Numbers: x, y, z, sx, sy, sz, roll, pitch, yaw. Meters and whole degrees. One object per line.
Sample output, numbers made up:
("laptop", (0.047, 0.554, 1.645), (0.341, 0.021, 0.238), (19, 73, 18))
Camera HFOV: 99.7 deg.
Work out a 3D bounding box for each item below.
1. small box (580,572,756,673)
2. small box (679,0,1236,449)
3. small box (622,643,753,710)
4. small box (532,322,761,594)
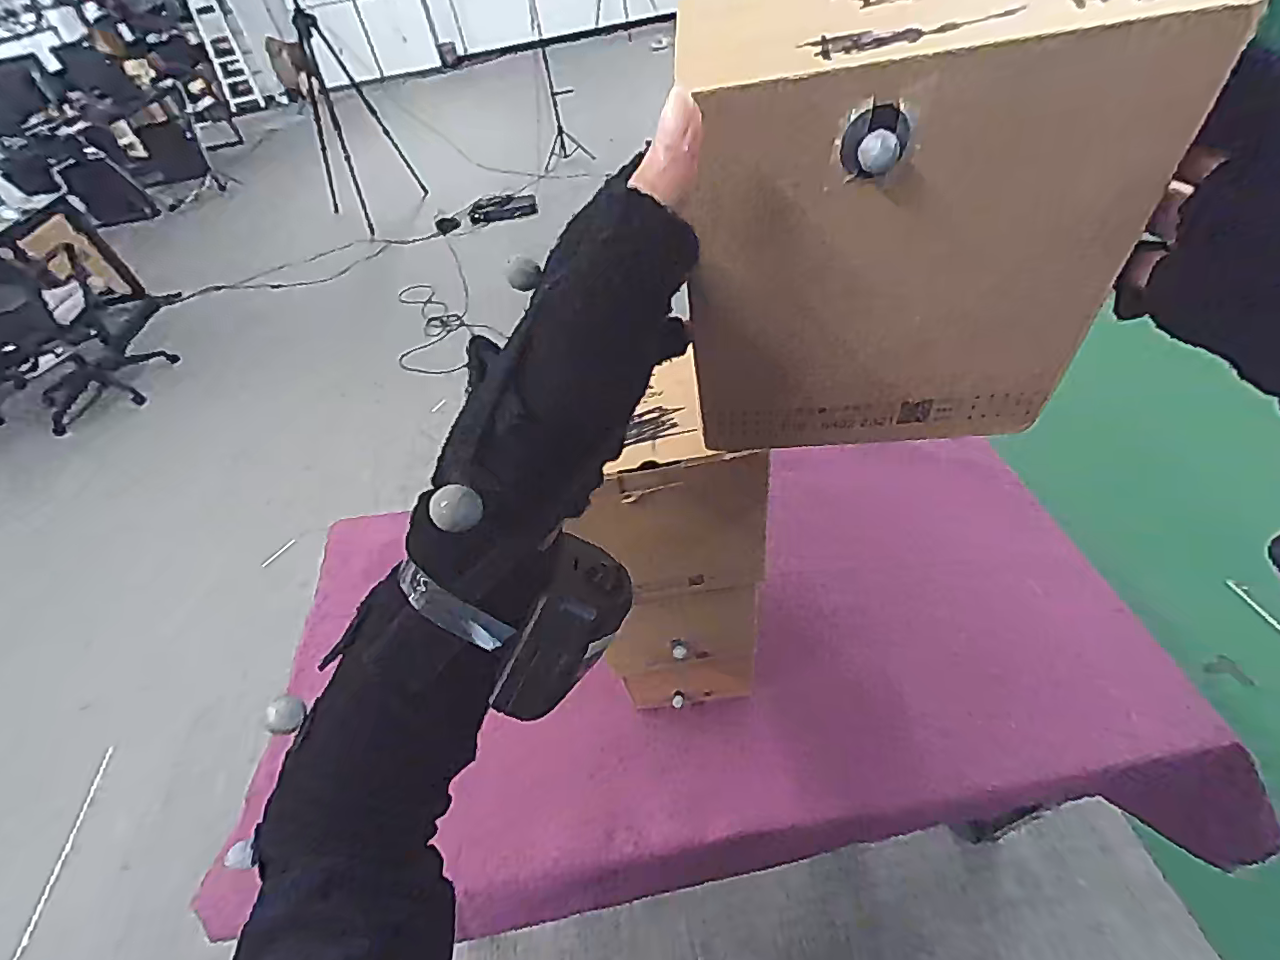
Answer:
("small box", (0.029, 0.091, 0.610), (0.168, 0.176, 0.179), (-11, 47, 3))
("small box", (0.112, -0.136, 0.283), (0.168, 0.176, 0.179), (-3, 48, 10))
("small box", (0.054, 0.189, 0.739), (0.168, 0.176, 0.179), (-9, 47, 3))
("small box", (0.010, -0.014, 0.484), (0.168, 0.176, 0.179), (-9, 46, 3))
